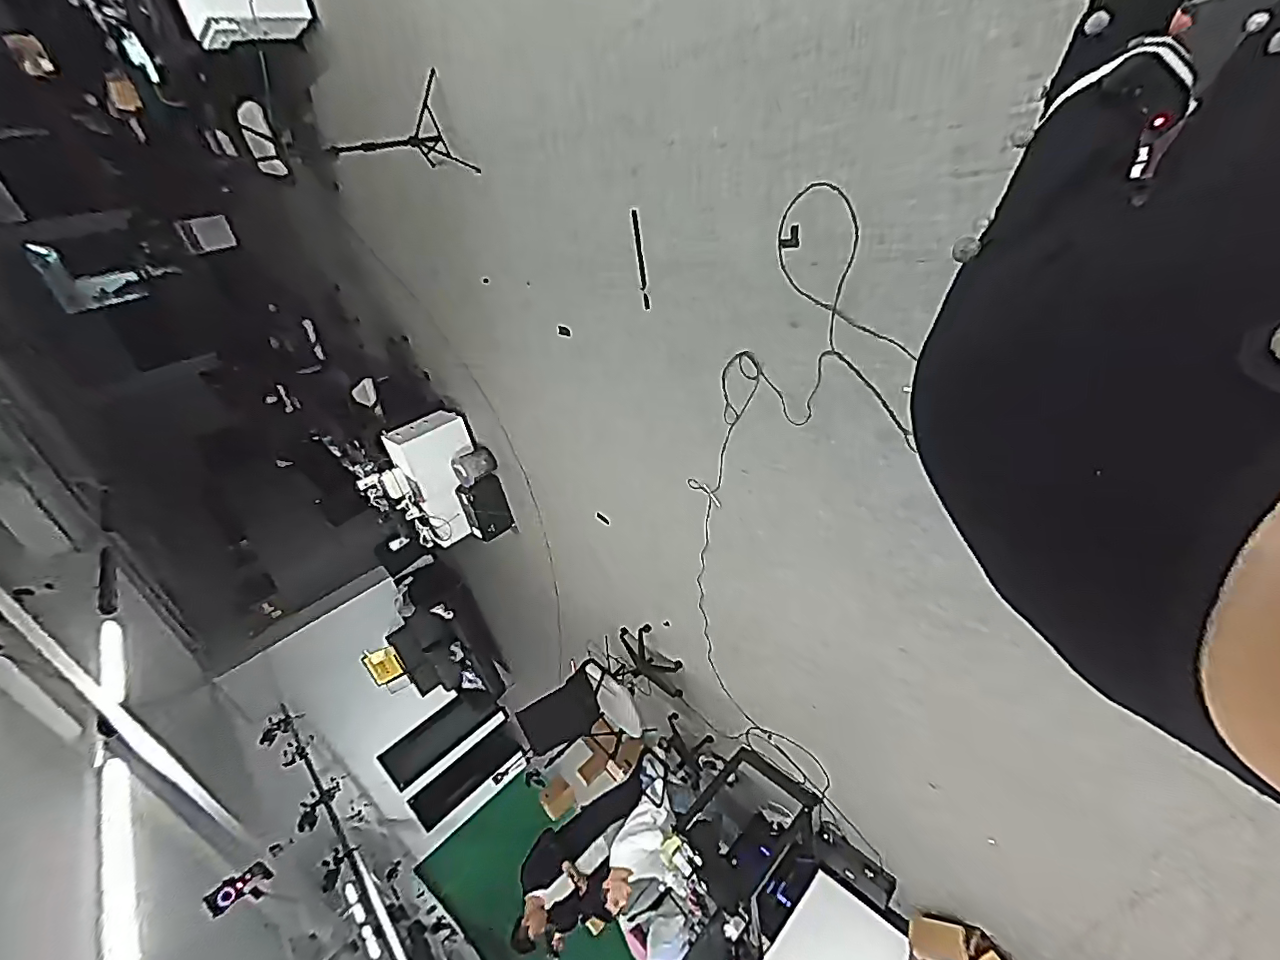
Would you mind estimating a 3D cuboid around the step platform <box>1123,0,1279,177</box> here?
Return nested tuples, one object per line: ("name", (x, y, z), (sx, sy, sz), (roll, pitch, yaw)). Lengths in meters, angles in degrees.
("step platform", (1.184, -0.663, 0.810), (0.684, 0.204, 0.286), (18, 131, 43))
